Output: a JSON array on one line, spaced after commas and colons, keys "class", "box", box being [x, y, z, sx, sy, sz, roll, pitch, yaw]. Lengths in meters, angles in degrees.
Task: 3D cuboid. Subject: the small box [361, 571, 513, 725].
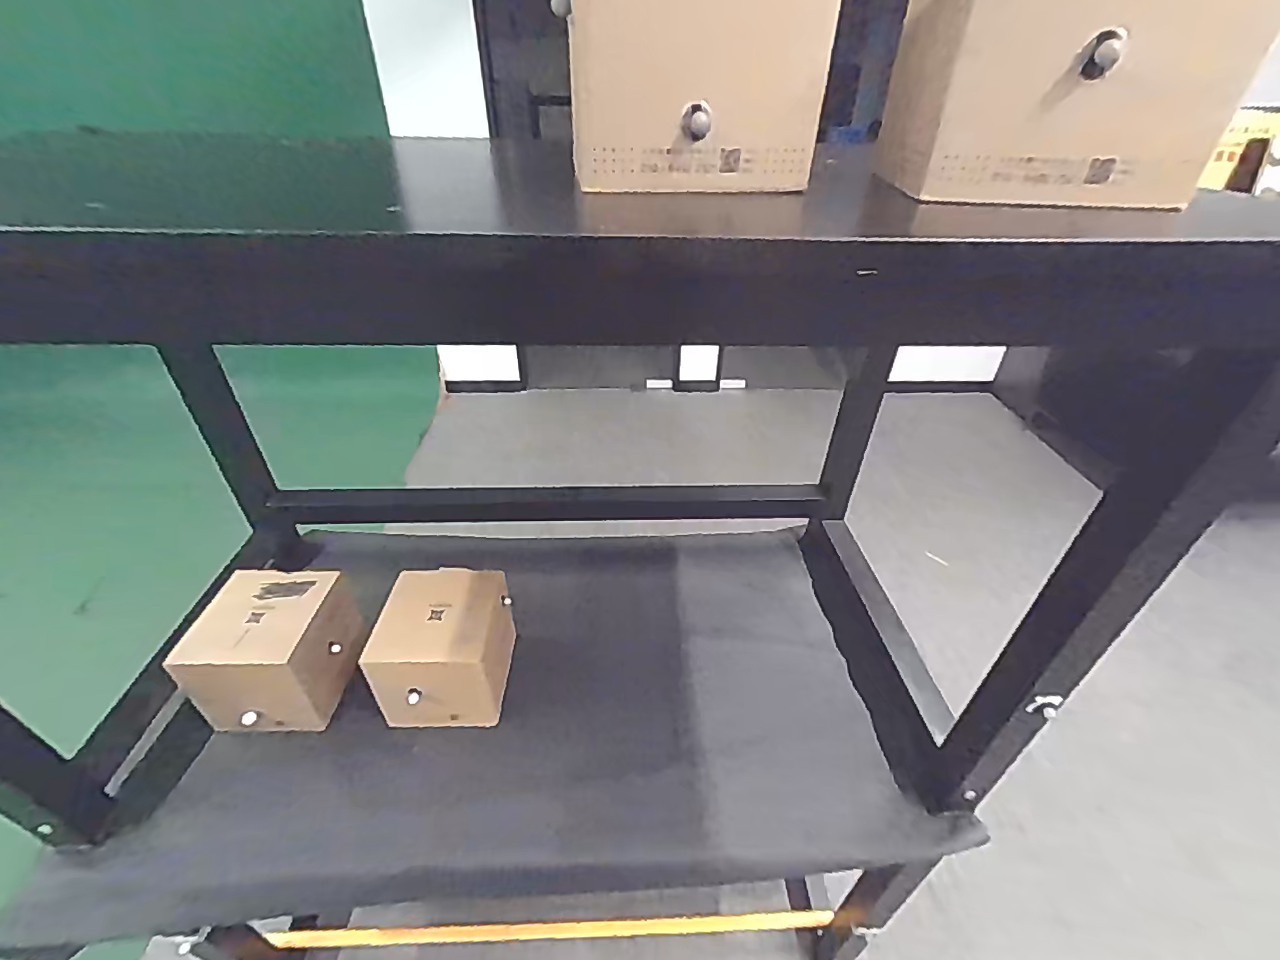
[{"class": "small box", "box": [-0.301, 0.265, 0.849, 0.168, 0.176, 0.179, 0, 35, -2]}]

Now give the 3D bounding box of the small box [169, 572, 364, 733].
[{"class": "small box", "box": [-0.554, 0.263, 0.838, 0.168, 0.176, 0.179, 0, 36, -1]}]

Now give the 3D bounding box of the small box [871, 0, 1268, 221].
[{"class": "small box", "box": [0.281, -0.291, 0.384, 0.168, 0.176, 0.179, 6, 36, 7]}]
